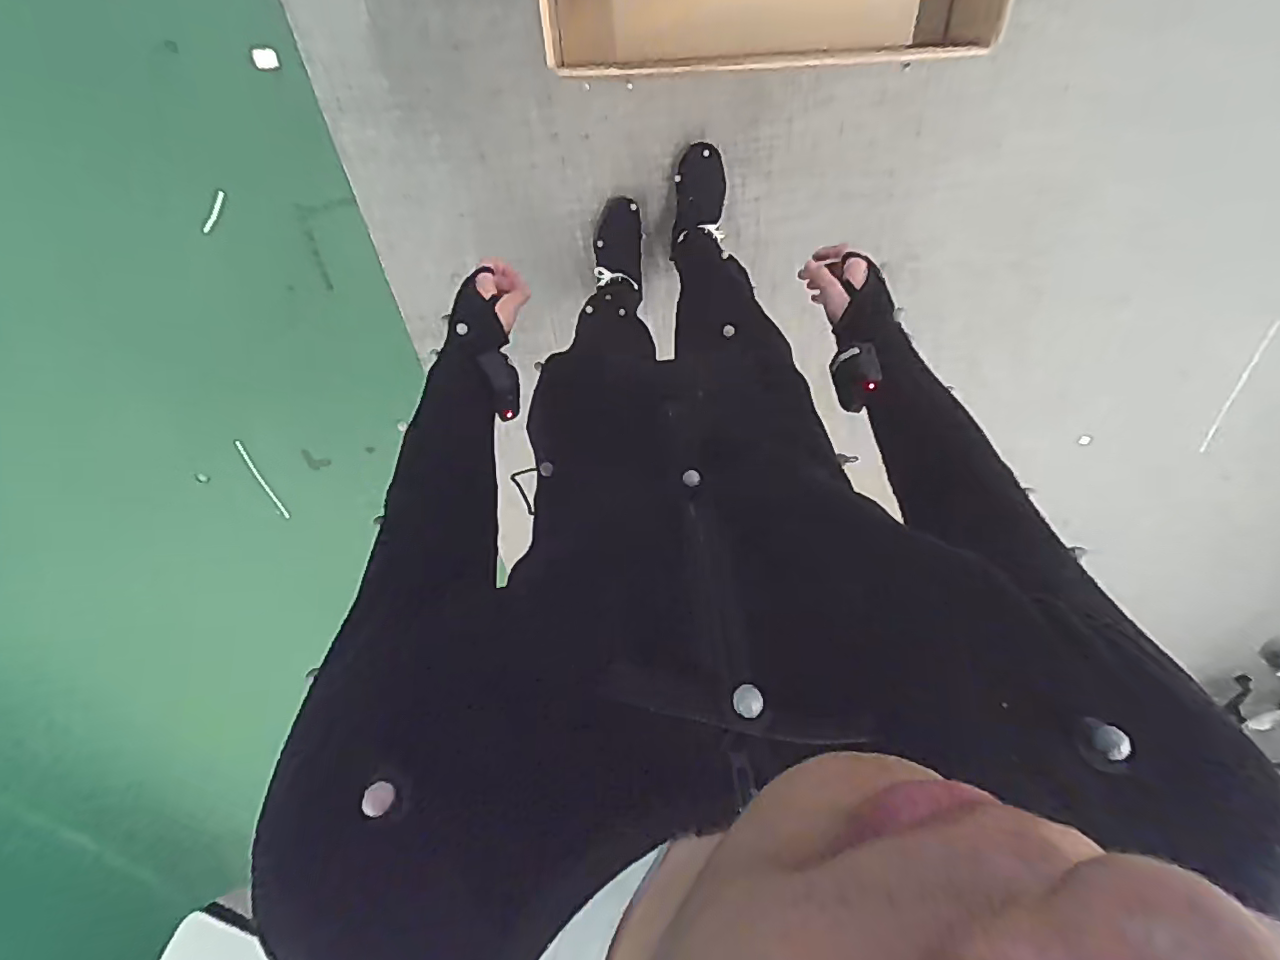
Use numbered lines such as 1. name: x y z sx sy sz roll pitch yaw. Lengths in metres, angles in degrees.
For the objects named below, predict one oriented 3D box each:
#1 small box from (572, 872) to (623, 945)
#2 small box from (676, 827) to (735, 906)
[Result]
1. small box: -0.152 1.561 1.972 0.168 0.176 0.179 -7 127 0
2. small box: 0.214 1.269 1.777 0.168 0.176 0.179 -10 127 4
